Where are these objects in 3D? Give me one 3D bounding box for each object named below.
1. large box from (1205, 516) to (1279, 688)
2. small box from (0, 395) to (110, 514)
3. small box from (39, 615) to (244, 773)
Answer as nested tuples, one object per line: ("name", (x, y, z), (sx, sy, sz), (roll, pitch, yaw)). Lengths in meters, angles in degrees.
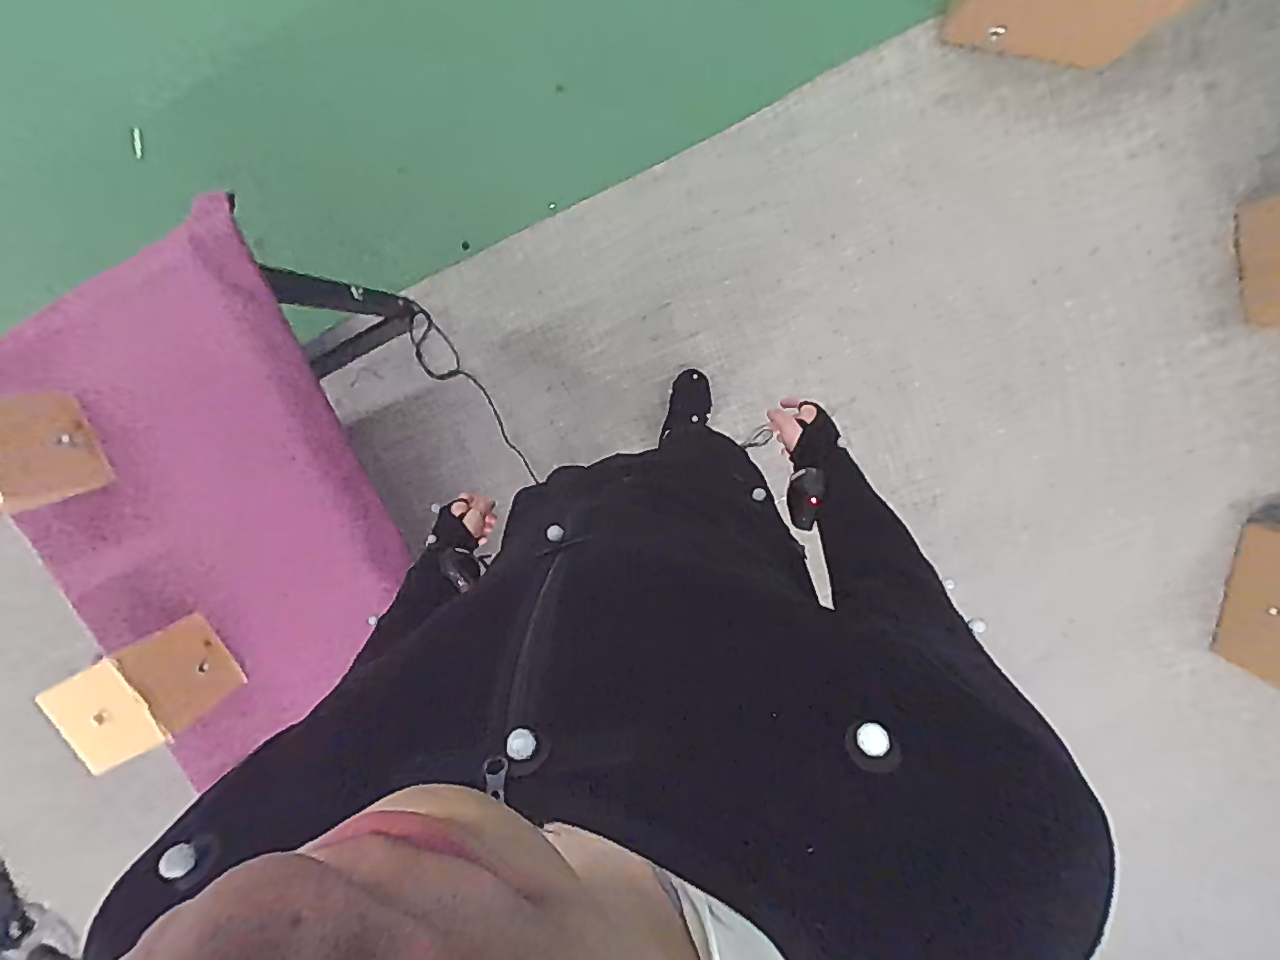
("large box", (1.795, 0.329, 1.399), (0.320, 0.320, 0.408), (1, 102, 4))
("small box", (-1.054, -0.034, 0.889), (0.179, 0.176, 0.168), (-17, 101, 8))
("small box", (-0.874, 0.373, 0.967), (0.179, 0.176, 0.168), (-28, 98, 9))
